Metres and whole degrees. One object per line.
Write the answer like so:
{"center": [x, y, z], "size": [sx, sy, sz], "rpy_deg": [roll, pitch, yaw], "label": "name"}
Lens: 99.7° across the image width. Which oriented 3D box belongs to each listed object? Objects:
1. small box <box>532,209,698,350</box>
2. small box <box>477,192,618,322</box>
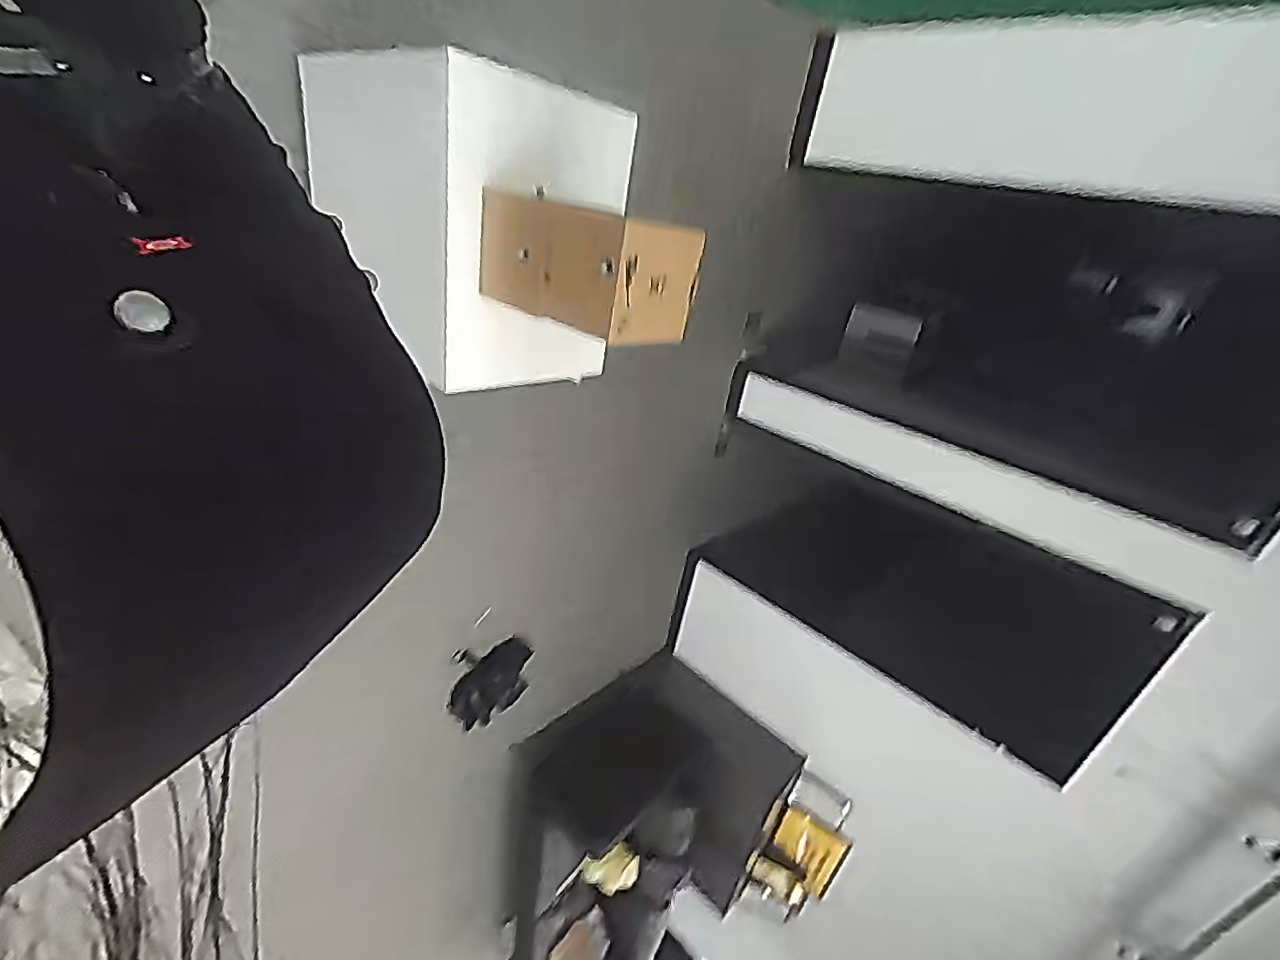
{"center": [-0.042, -0.312, 0.837], "size": [0.179, 0.176, 0.168], "rpy_deg": [-20, 130, -44], "label": "small box"}
{"center": [-0.161, -0.379, 0.922], "size": [0.168, 0.176, 0.179], "rpy_deg": [-19, 130, -45], "label": "small box"}
